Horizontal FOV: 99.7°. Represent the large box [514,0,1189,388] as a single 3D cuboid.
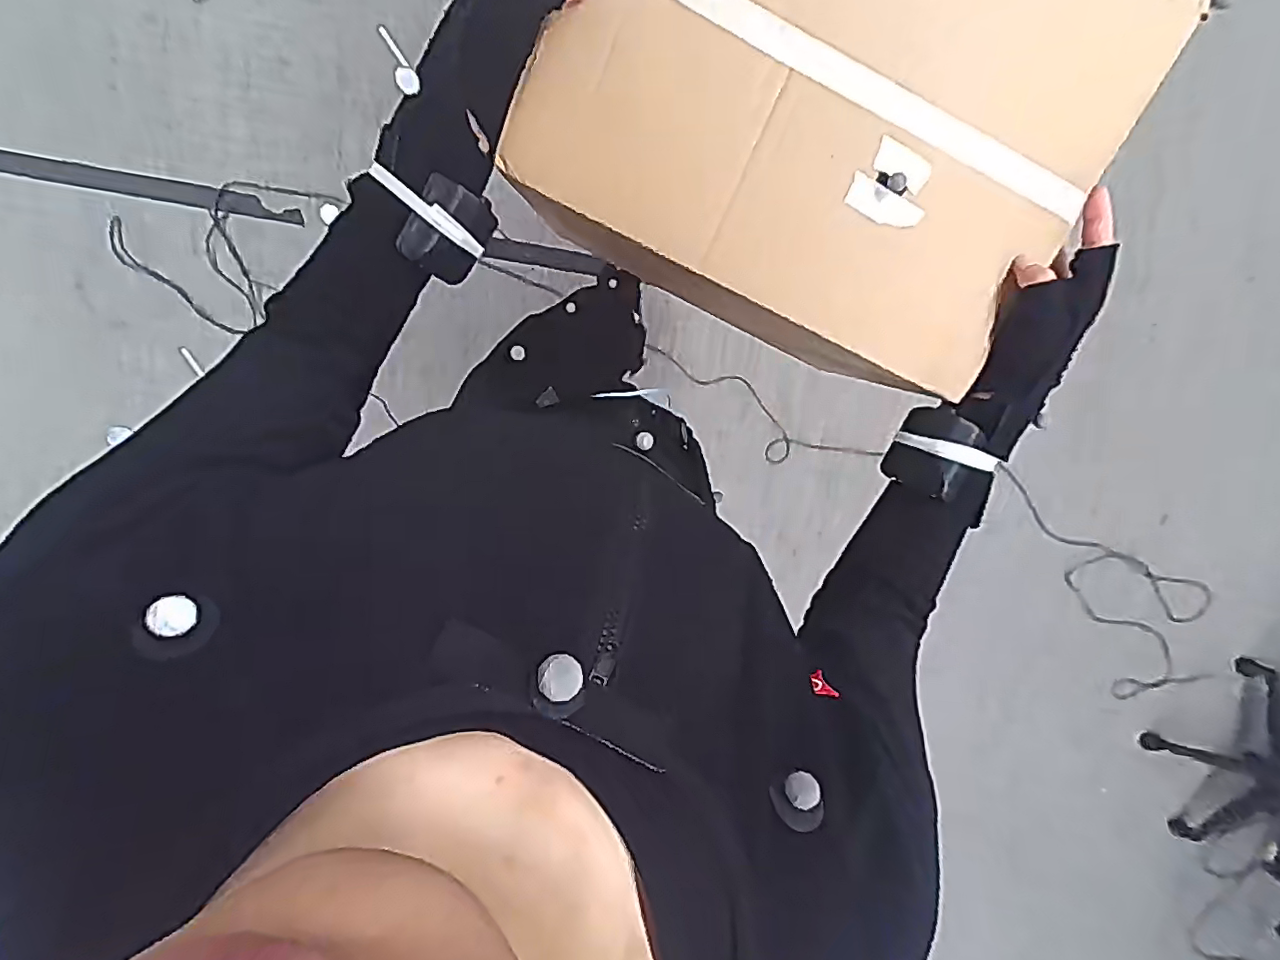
[{"bbox_3d":[0.142,-0.327,0.533,0.408,0.320,0.320,25,105,-8],"label":"large box"}]
